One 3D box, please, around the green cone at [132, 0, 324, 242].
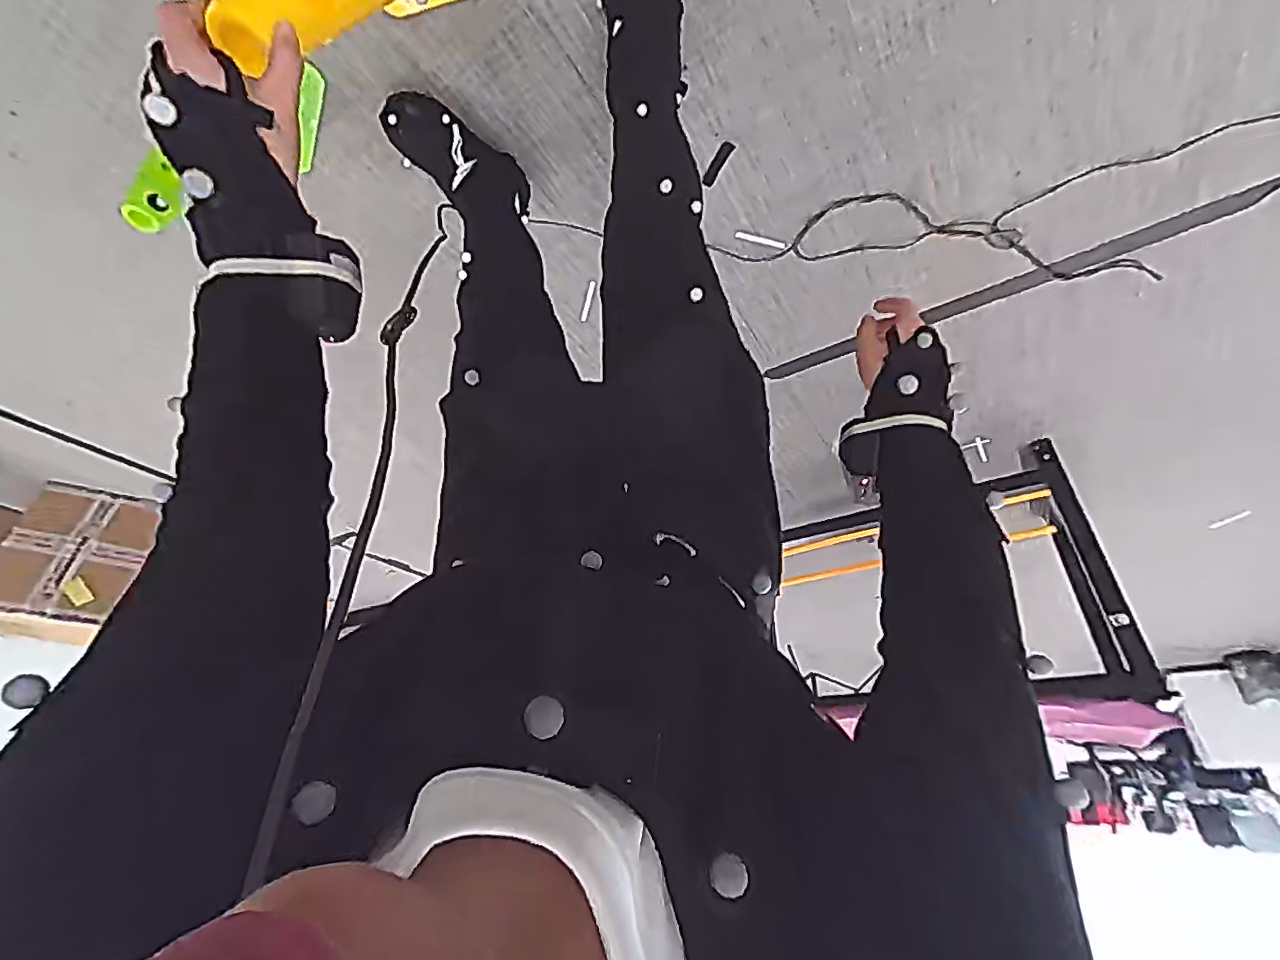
[{"bbox_3d":[-0.639,-0.478,0.794,0.202,0.368,0.200,20,144,-28],"label":"green cone"}]
